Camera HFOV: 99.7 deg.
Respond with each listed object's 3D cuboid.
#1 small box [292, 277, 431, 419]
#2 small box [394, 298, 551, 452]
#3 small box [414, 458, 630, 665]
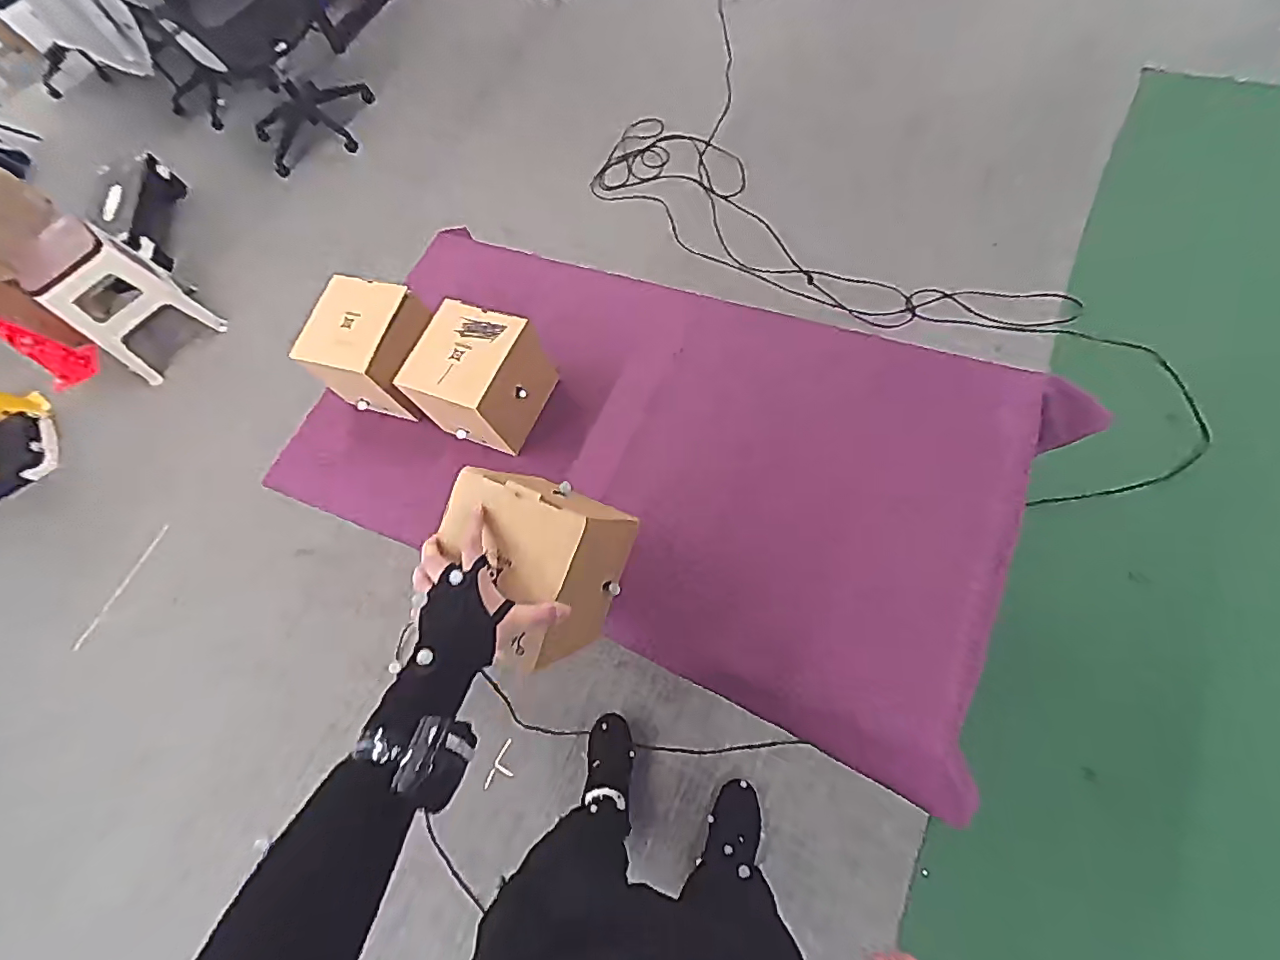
[{"bbox_3d":[-0.480,-0.239,0.999,0.168,0.176,0.179,14,72,17],"label":"small box"},{"bbox_3d":[-0.273,-0.176,0.929,0.168,0.176,0.179,19,73,18],"label":"small box"},{"bbox_3d":[-0.128,0.090,0.654,0.168,0.176,0.179,21,92,21],"label":"small box"}]
